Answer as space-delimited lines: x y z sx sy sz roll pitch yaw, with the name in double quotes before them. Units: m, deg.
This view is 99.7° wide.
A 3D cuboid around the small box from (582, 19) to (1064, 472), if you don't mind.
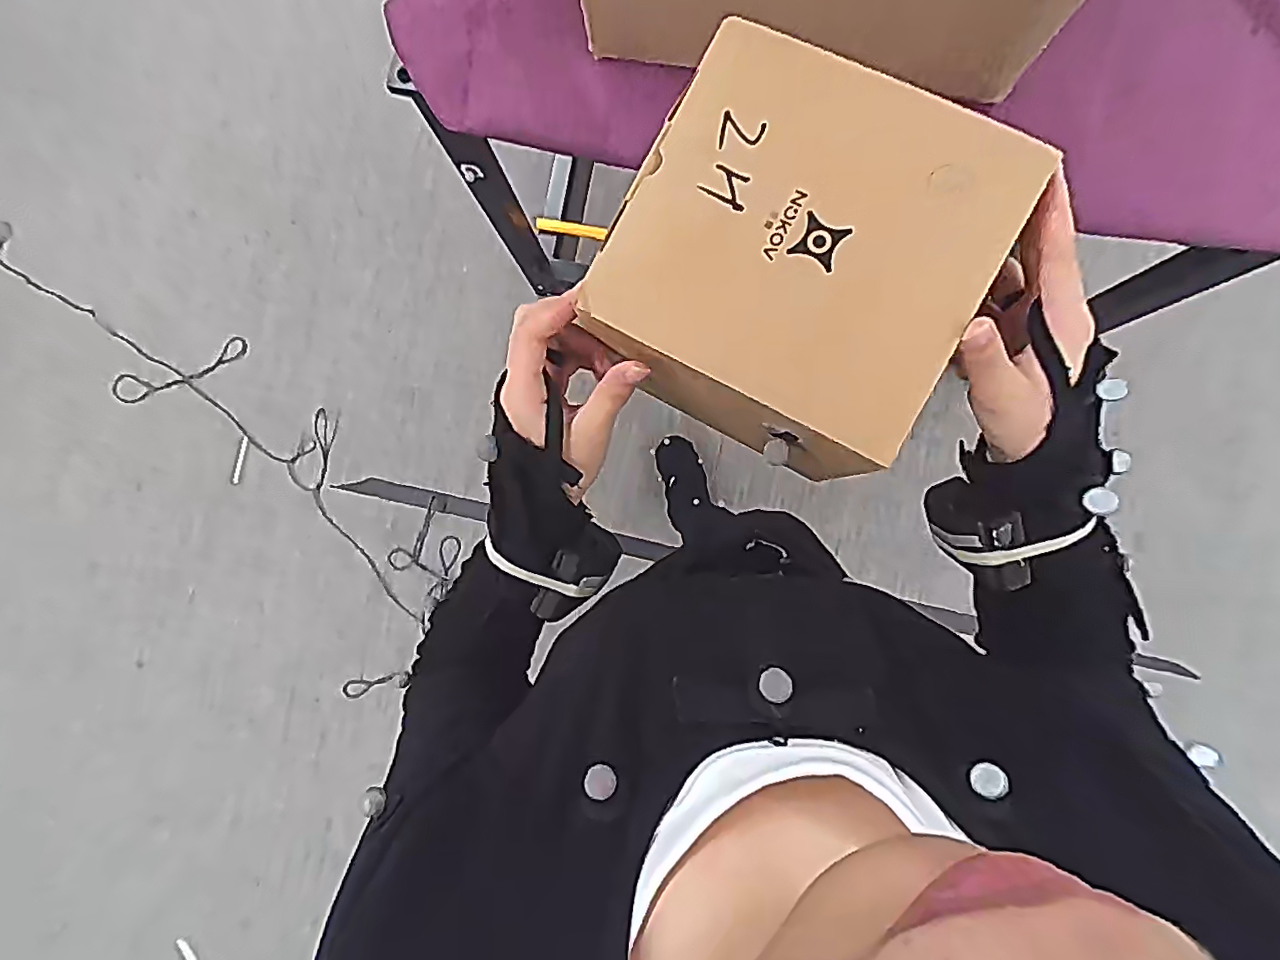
"small box" 0.092 -0.114 0.339 0.179 0.176 0.168 29 91 7
